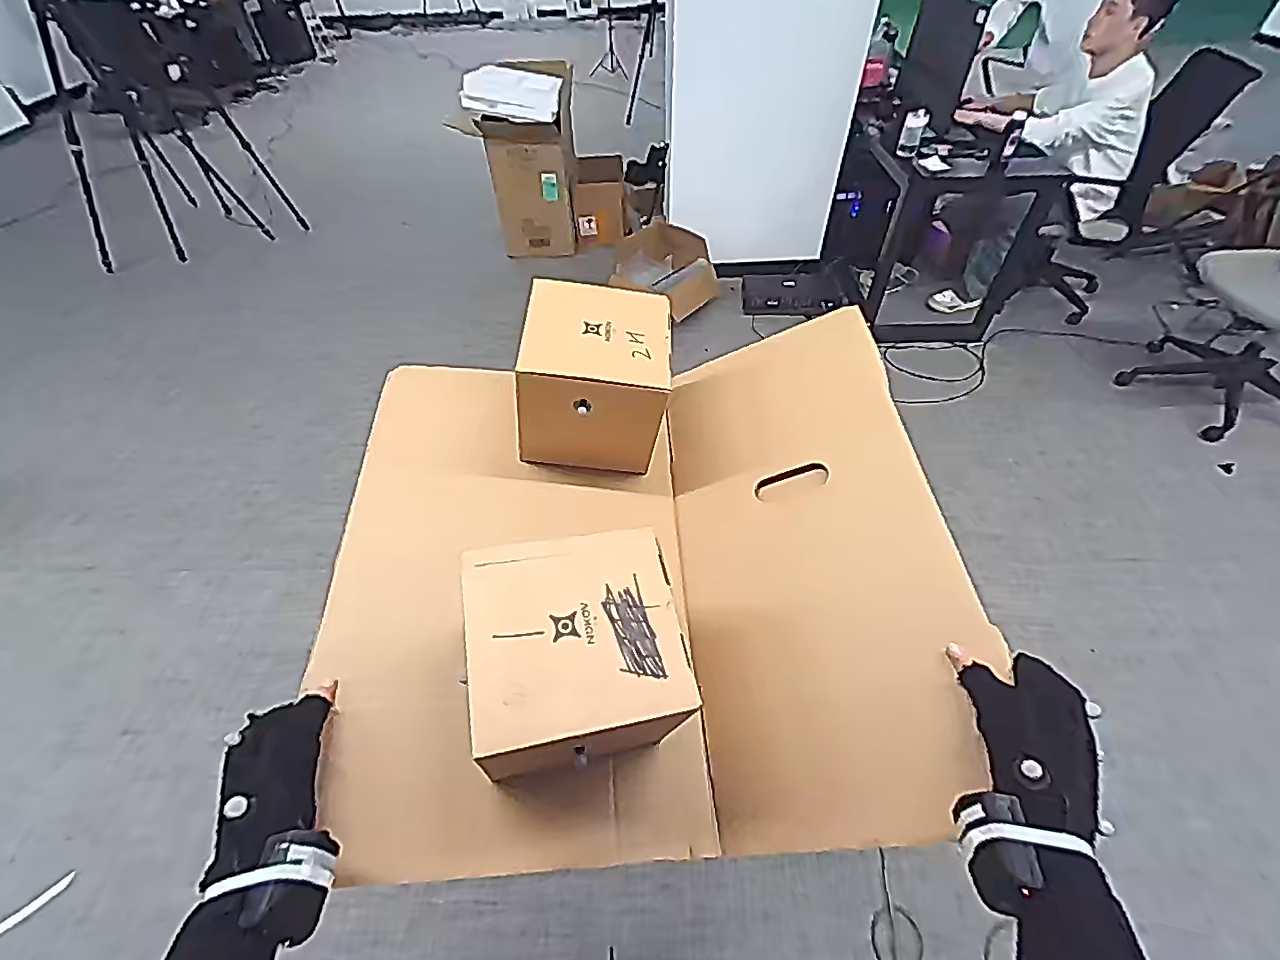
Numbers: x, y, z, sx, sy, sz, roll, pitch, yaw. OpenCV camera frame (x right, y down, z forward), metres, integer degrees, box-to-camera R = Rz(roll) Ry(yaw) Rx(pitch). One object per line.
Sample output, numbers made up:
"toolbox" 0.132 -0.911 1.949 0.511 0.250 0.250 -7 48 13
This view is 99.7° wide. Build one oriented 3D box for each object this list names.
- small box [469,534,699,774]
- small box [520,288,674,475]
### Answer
"small box" -0.063 0.169 0.518 0.179 0.176 0.168 -6 58 -14
"small box" -0.057 -0.123 0.716 0.179 0.176 0.168 7 56 -7
